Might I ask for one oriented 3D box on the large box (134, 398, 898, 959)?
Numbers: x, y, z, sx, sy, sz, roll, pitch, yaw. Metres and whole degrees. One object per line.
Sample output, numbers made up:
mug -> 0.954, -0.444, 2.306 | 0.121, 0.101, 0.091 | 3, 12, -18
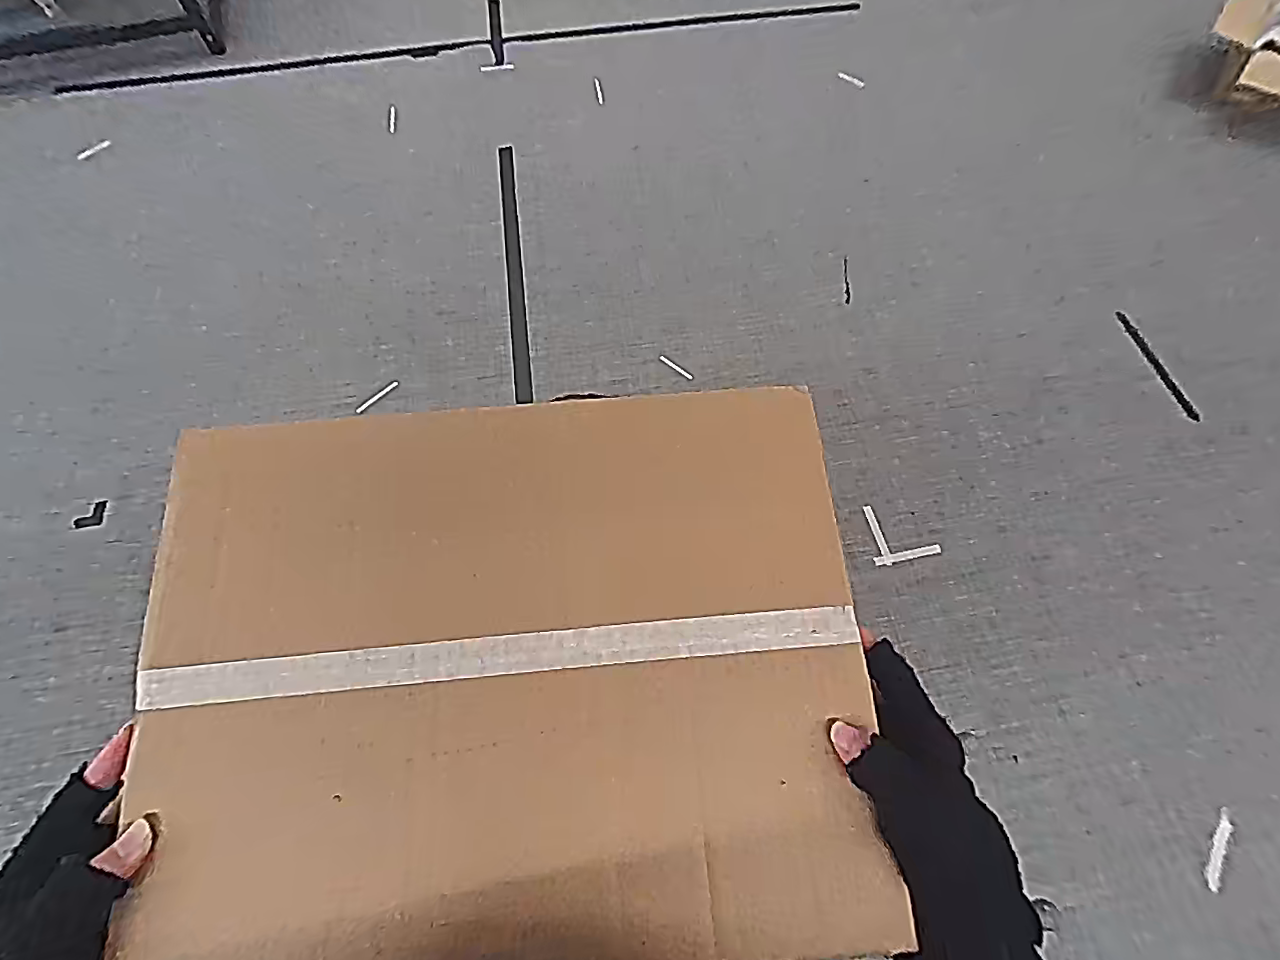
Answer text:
large box -> -0.075, 0.150, 0.463 | 0.408, 0.320, 0.320 | -5, 74, -2
